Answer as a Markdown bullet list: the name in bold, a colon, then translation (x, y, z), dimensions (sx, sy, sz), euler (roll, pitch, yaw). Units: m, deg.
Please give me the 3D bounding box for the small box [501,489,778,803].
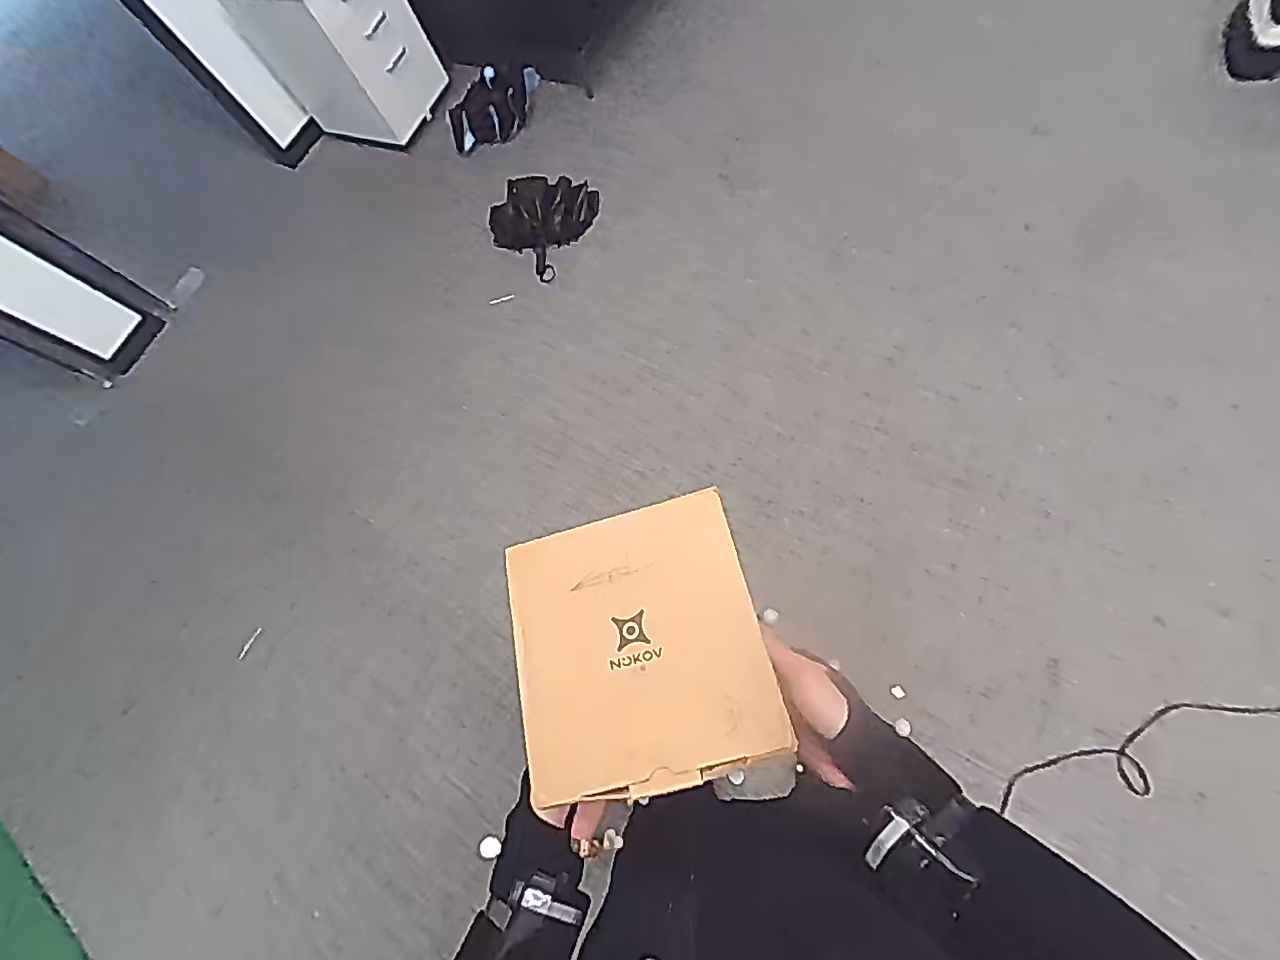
- **small box**: translation (0.007, 0.134, 0.433), dimensions (0.168, 0.176, 0.179), euler (-16, 63, 6)
